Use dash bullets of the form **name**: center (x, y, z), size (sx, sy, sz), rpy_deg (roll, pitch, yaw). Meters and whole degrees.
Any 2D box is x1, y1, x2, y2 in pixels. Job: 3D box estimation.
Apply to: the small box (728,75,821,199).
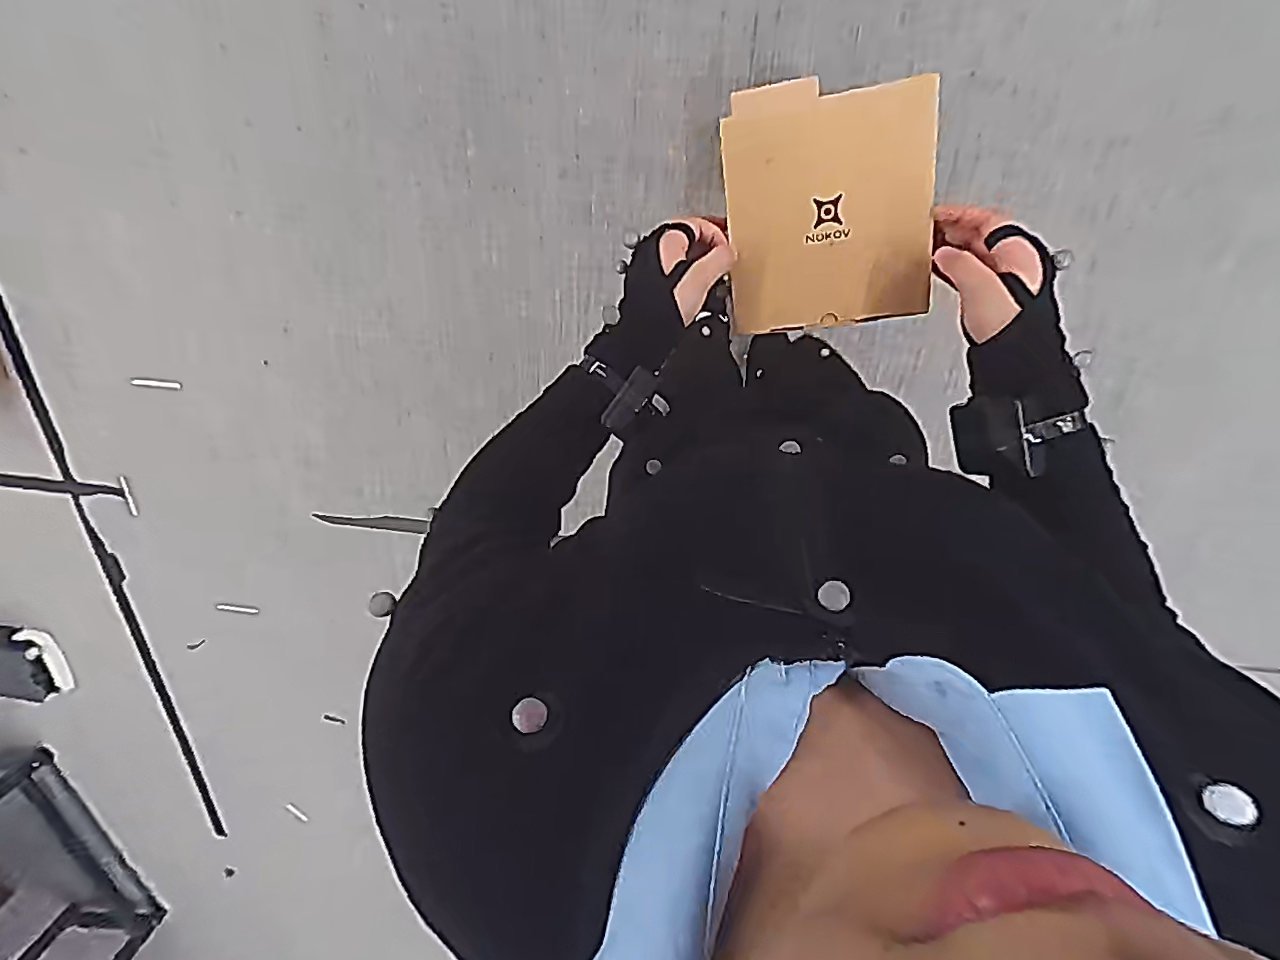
- **small box**: center (0.274, -0.699, 1.122), size (0.168, 0.176, 0.179), rpy_deg (-6, 113, 9)
